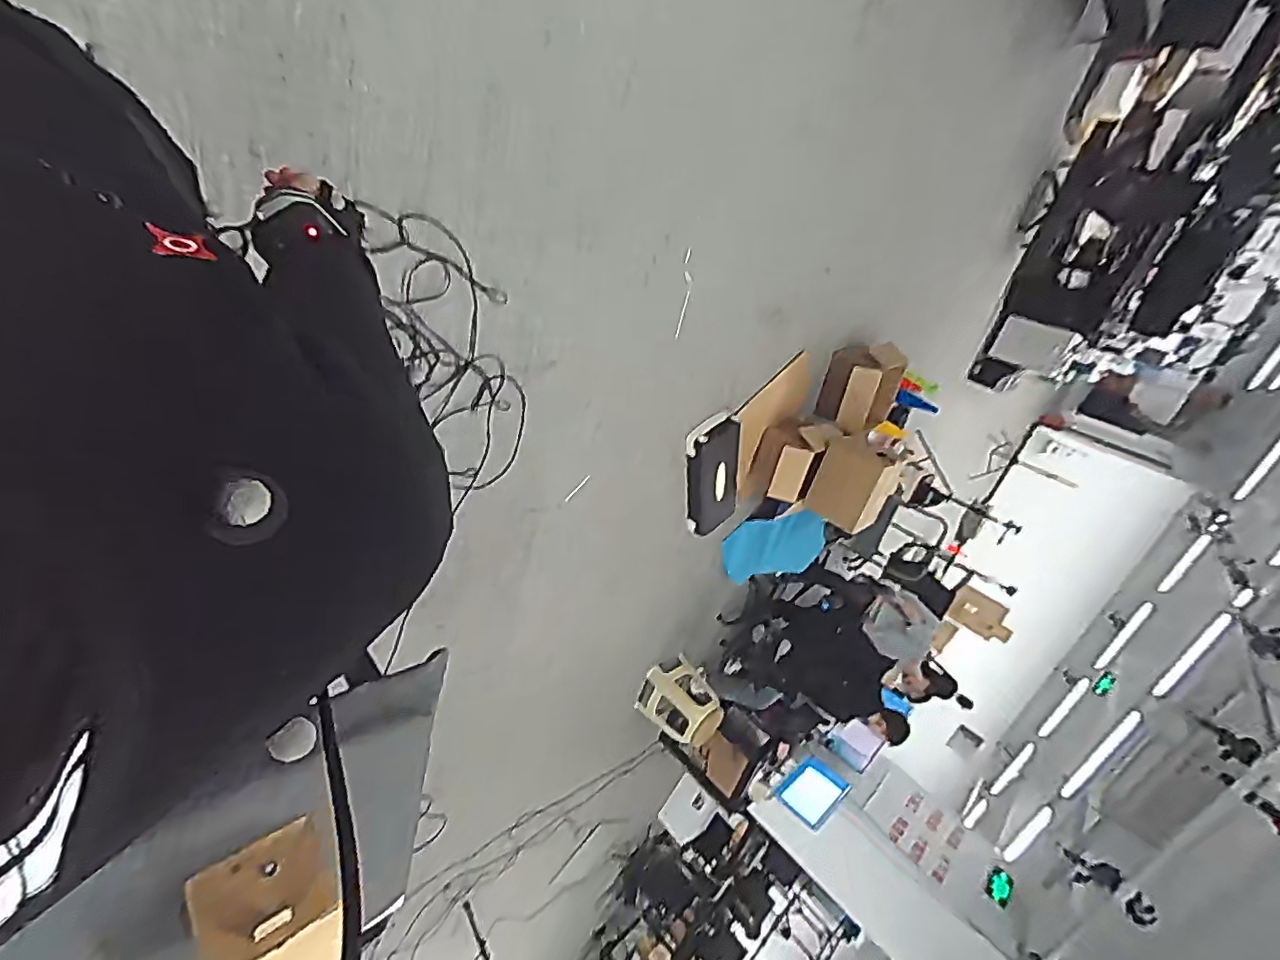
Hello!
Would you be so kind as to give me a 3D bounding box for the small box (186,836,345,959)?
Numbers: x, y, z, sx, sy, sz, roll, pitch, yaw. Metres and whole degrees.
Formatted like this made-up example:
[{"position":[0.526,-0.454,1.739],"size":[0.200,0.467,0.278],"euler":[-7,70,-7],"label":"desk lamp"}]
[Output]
[{"position":[-0.575,0.708,0.838],"size":[0.168,0.176,0.179],"euler":[-15,128,-43],"label":"small box"}]
